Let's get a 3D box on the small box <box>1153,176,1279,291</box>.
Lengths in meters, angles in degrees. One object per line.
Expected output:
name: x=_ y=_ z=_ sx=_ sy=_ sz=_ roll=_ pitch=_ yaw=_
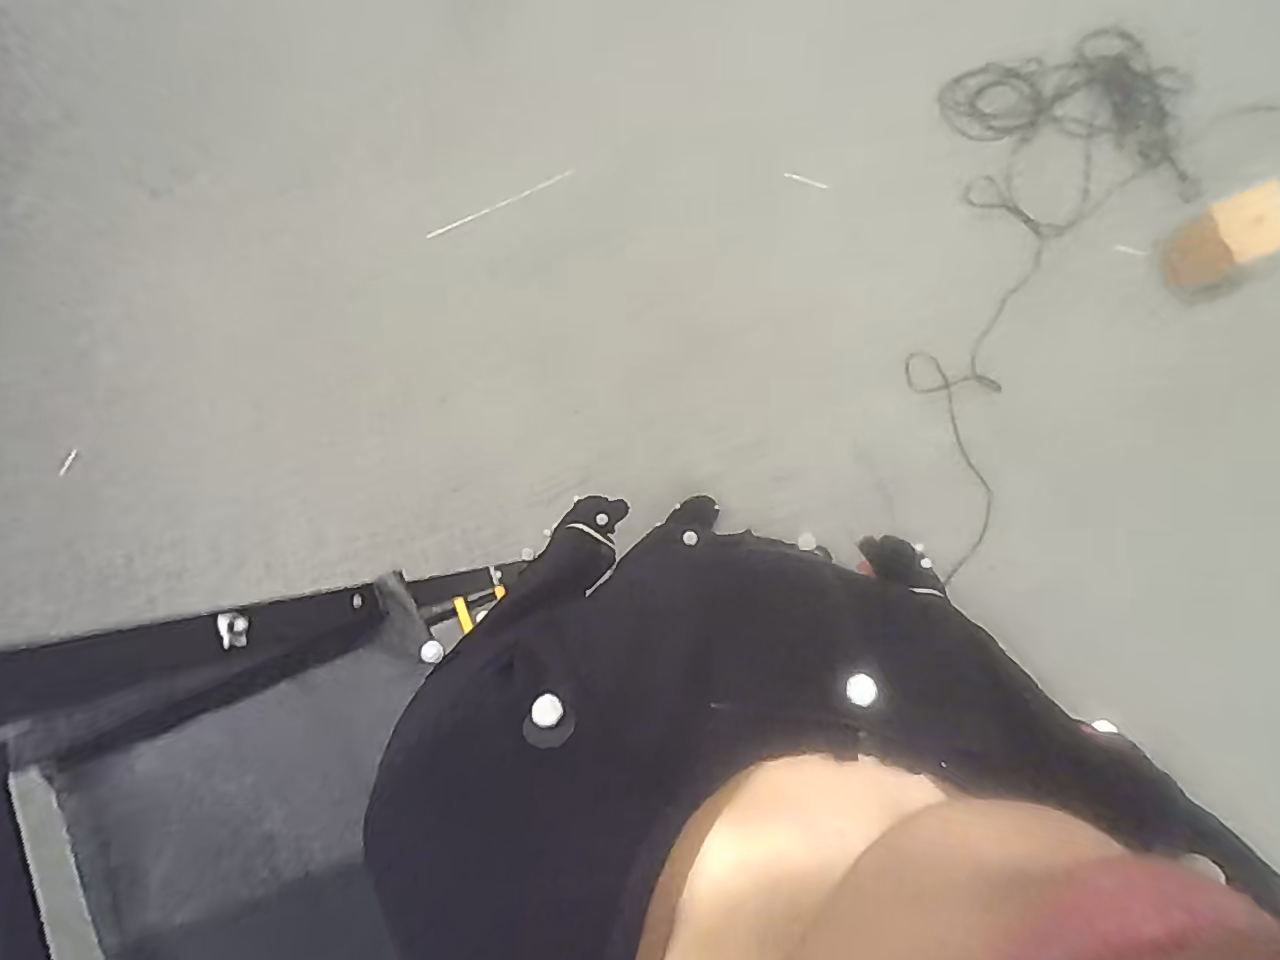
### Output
small box: x=1.477 y=-0.612 z=1.362 sx=0.179 sy=0.176 sz=0.168 roll=-23 pitch=83 yaw=3
